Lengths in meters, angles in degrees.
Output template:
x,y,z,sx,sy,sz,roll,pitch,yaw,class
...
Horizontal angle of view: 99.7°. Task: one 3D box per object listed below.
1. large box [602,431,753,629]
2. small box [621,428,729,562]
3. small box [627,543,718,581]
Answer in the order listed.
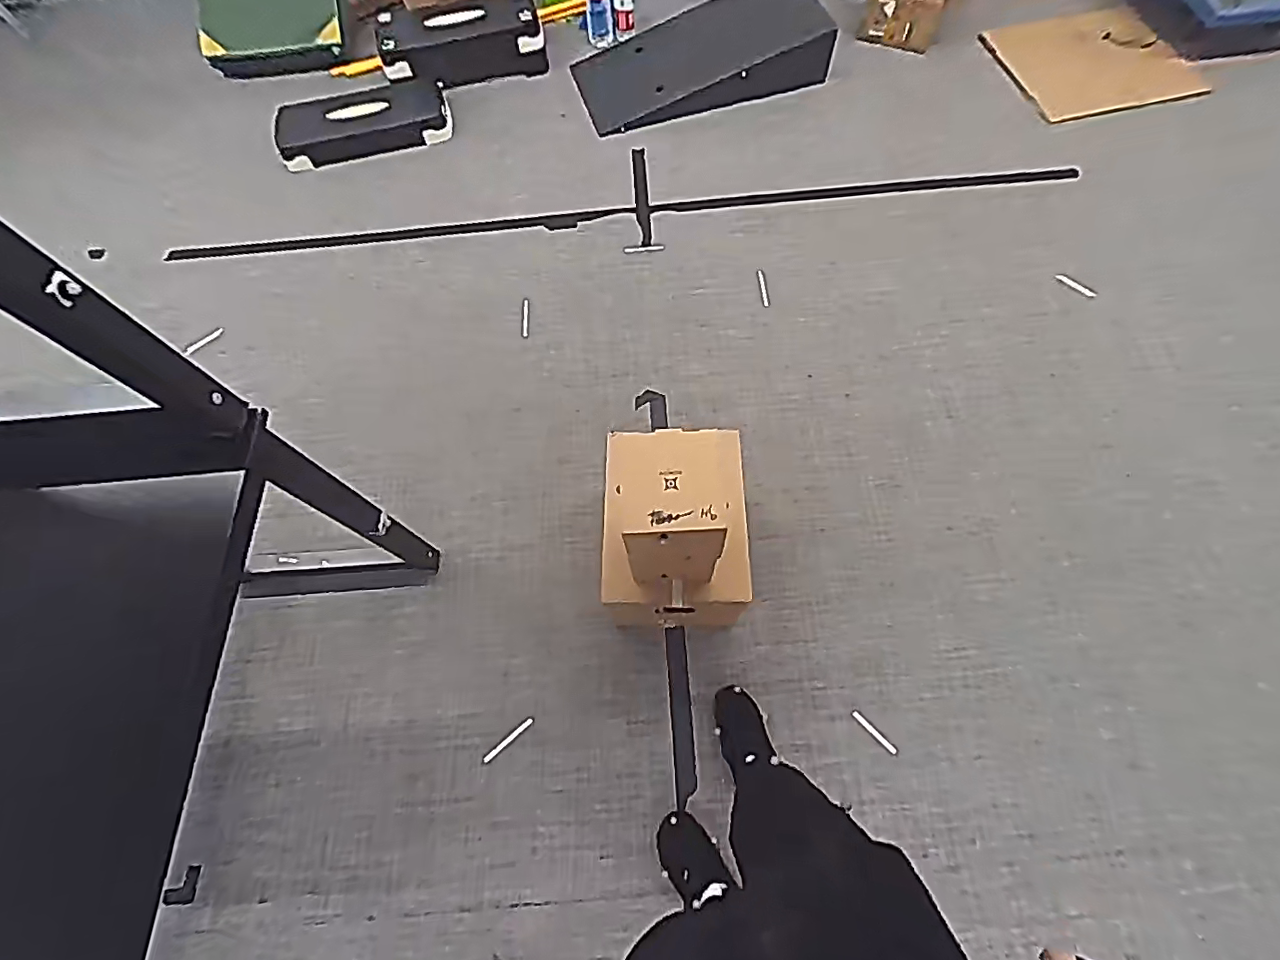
x,y,z,sx,sy,sz,roll,pitch,yaw,class
0.080,0.133,1.319,0.320,0.320,0.408,-1,65,1,large box
0.057,0.030,0.919,0.168,0.176,0.179,-3,65,3,small box
0.063,0.093,1.070,0.168,0.176,0.179,-1,66,3,small box
